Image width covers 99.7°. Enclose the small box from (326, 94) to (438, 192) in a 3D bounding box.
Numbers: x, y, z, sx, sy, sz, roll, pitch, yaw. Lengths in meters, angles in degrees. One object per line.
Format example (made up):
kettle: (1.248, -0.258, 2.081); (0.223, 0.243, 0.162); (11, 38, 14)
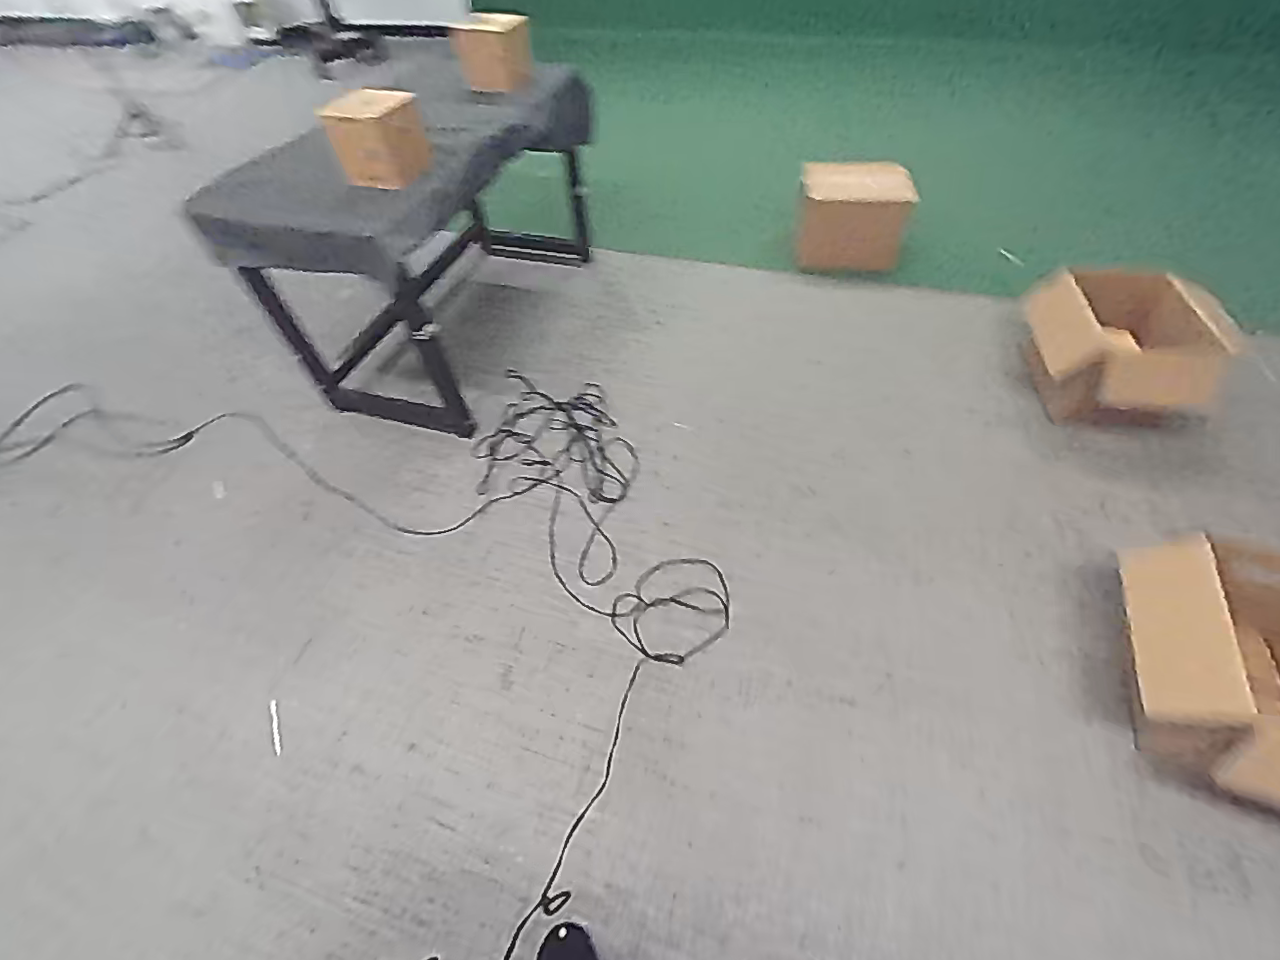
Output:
small box: (-0.655, -0.869, 1.400); (0.168, 0.176, 0.179); (15, 53, 13)
